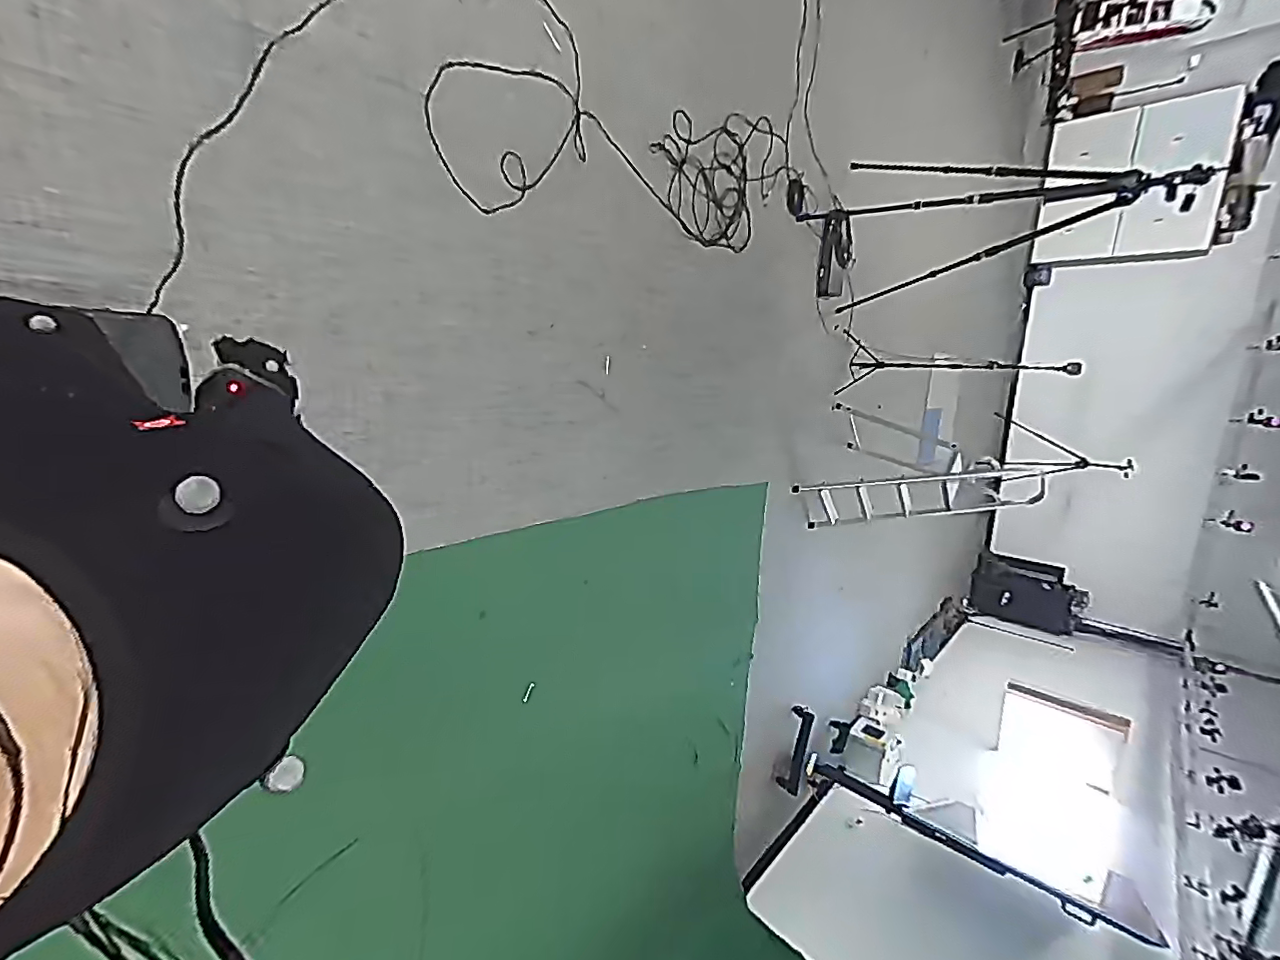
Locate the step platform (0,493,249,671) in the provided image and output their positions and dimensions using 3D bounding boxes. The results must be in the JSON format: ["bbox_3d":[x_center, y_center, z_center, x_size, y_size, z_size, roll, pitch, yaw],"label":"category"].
[{"bbox_3d":[-1.068,0.206,0.871,0.684,0.204,0.286,-11,107,-47],"label":"step platform"}]
